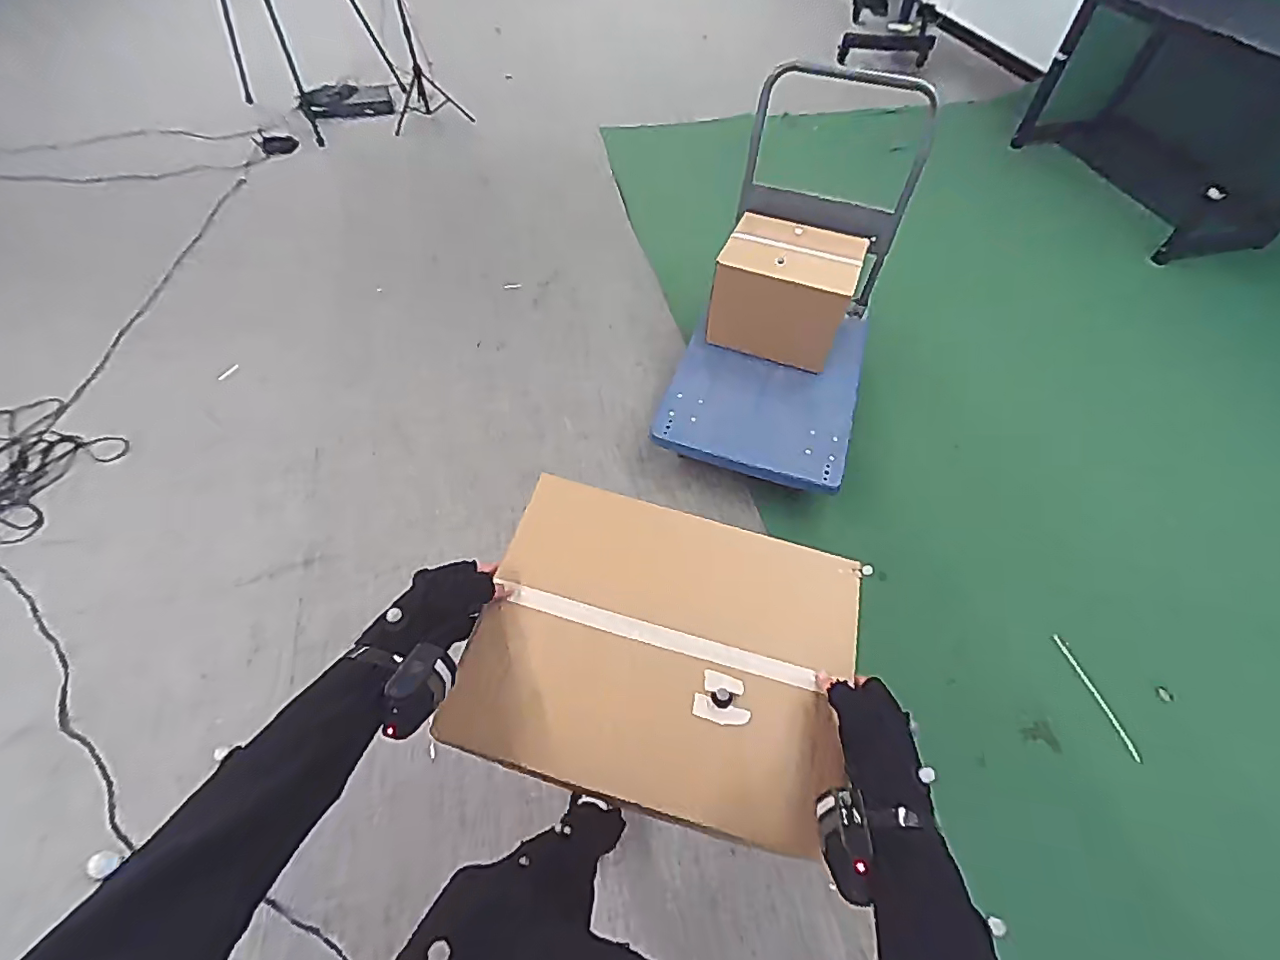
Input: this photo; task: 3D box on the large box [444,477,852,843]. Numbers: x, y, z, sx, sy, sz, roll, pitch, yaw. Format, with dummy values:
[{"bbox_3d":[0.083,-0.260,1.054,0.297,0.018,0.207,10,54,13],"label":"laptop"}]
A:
[{"bbox_3d":[0.017,0.246,0.720,0.408,0.320,0.320,16,58,3],"label":"large box"}]
